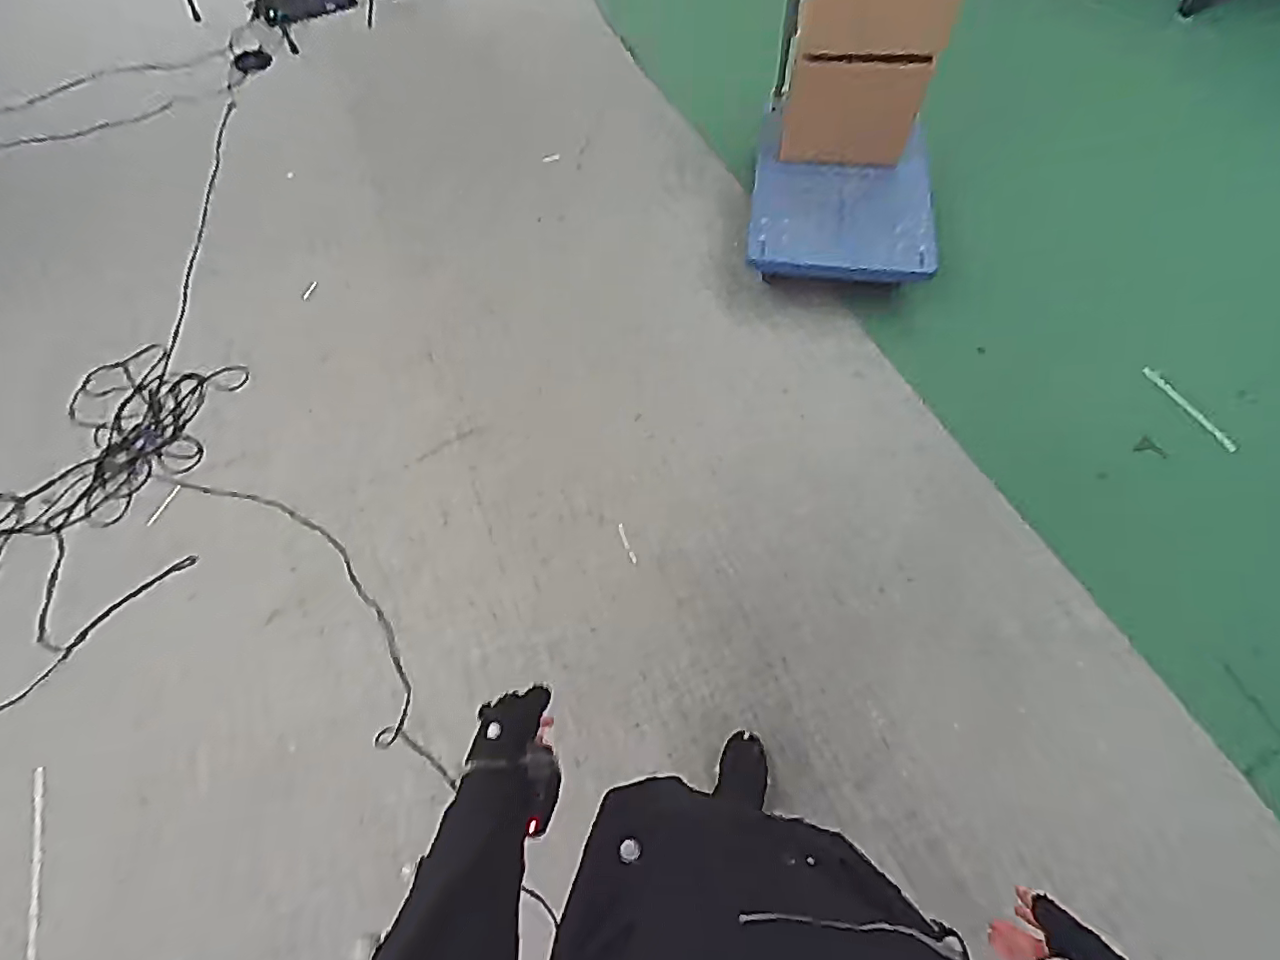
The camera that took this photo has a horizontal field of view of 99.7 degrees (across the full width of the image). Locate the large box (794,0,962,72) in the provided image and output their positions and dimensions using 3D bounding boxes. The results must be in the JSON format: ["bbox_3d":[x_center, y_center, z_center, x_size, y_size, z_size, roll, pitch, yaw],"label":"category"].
[{"bbox_3d":[0.677,-1.405,1.542,0.408,0.320,0.320,6,58,6],"label":"large box"}]
